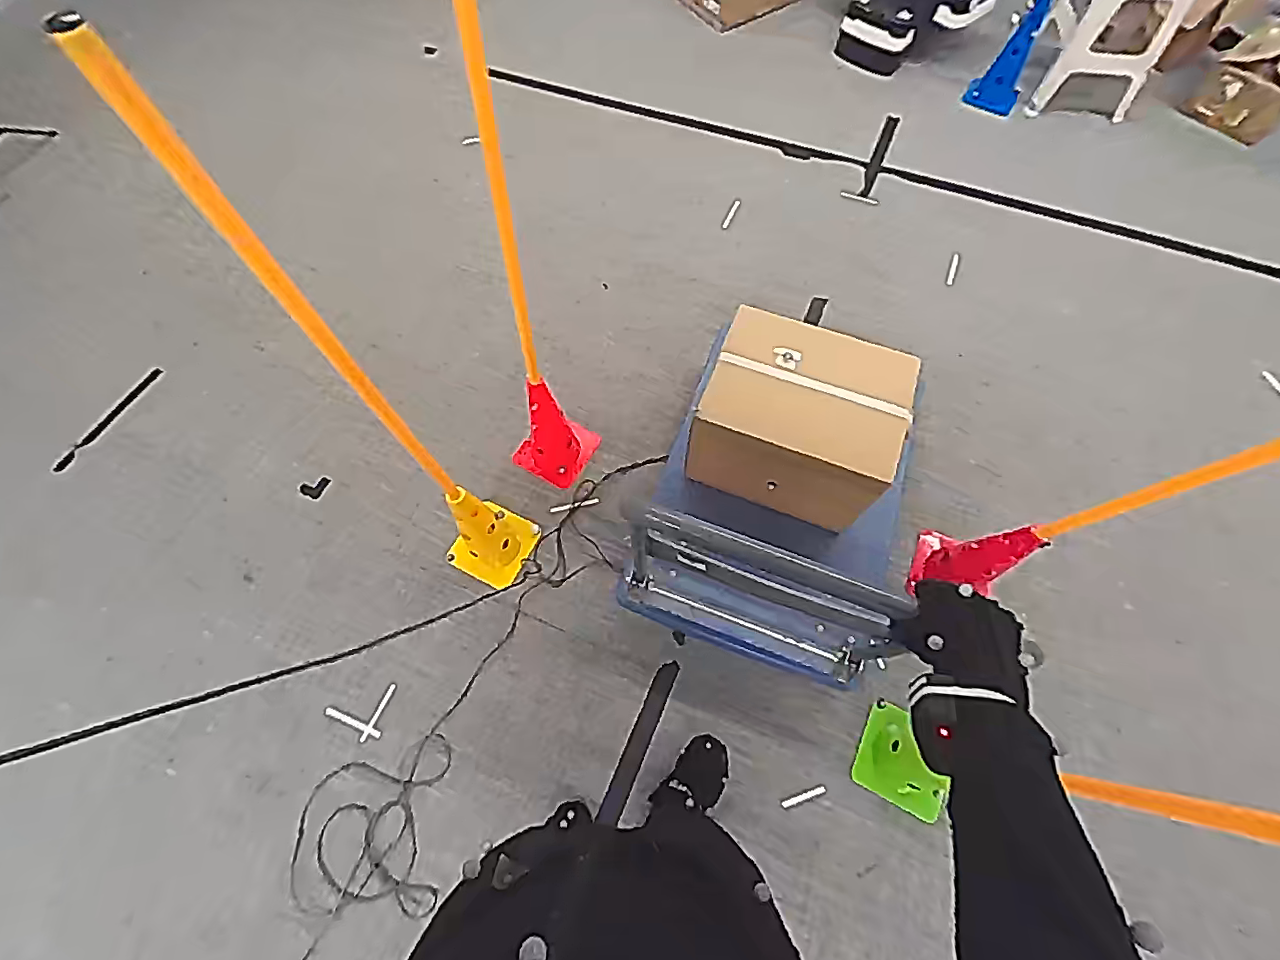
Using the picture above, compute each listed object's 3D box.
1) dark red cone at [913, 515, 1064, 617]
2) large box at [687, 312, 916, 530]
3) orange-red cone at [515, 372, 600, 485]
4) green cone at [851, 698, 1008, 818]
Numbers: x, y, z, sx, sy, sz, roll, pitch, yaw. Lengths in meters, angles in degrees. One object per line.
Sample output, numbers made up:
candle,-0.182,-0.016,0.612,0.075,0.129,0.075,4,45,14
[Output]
dark red cone,0.827,0.168,1.261,0.201,0.394,0.202,23,68,8
large box,0.352,-0.124,1.260,0.408,0.320,0.320,20,68,10
orange-red cone,-0.240,-0.170,1.443,0.198,0.360,0.199,30,68,12
green cone,0.610,0.571,1.099,0.202,0.368,0.200,26,68,10
